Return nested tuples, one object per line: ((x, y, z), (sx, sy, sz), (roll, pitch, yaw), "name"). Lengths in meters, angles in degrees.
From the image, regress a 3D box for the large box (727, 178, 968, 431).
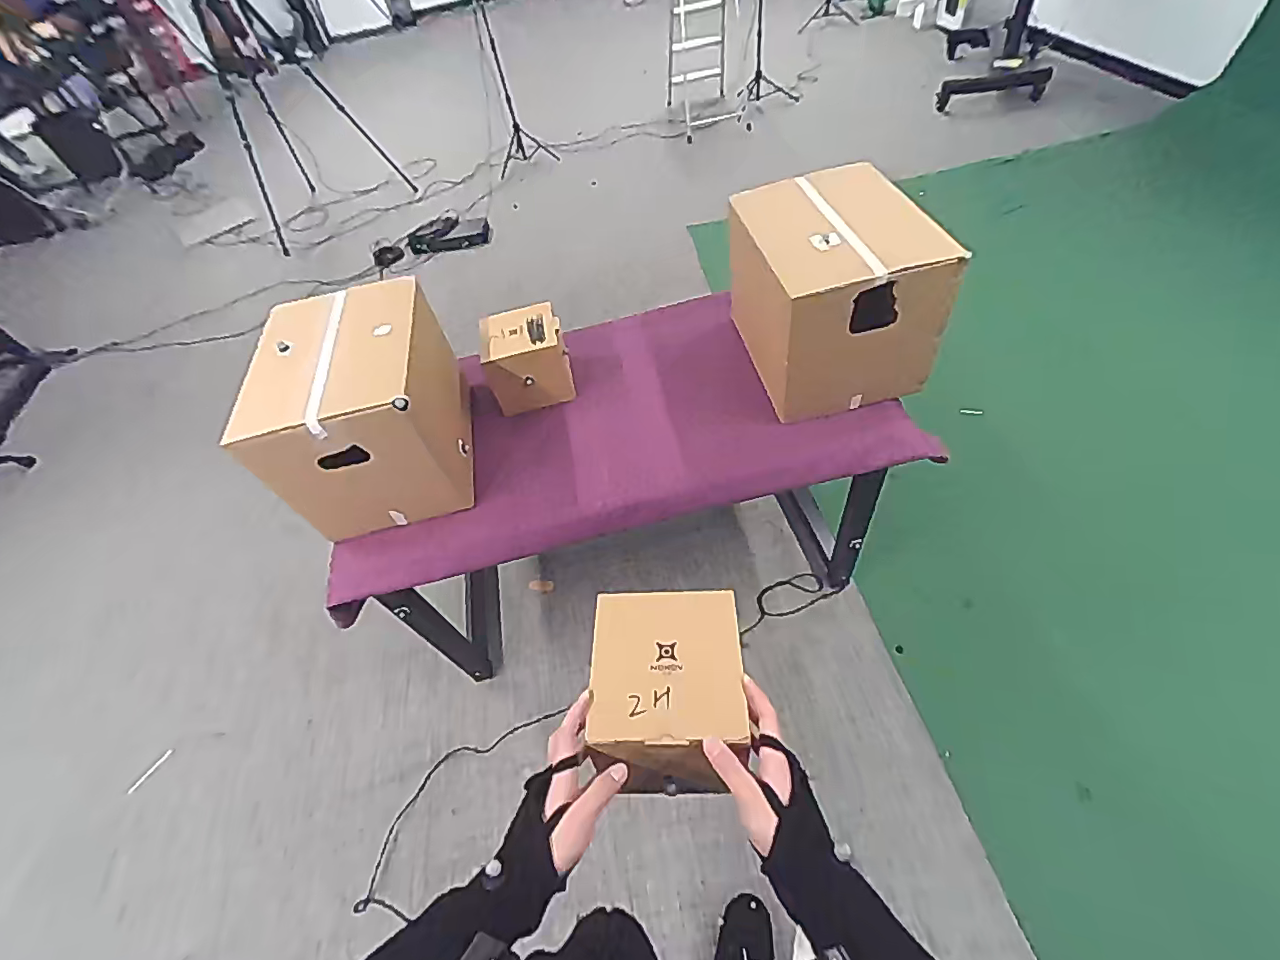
((0.390, -0.373, 1.149), (0.320, 0.320, 0.408), (-14, 52, 1), "large box")

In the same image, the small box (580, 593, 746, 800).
((0.031, 0.254, 0.640), (0.168, 0.176, 0.179), (-3, 44, 5), "small box")
